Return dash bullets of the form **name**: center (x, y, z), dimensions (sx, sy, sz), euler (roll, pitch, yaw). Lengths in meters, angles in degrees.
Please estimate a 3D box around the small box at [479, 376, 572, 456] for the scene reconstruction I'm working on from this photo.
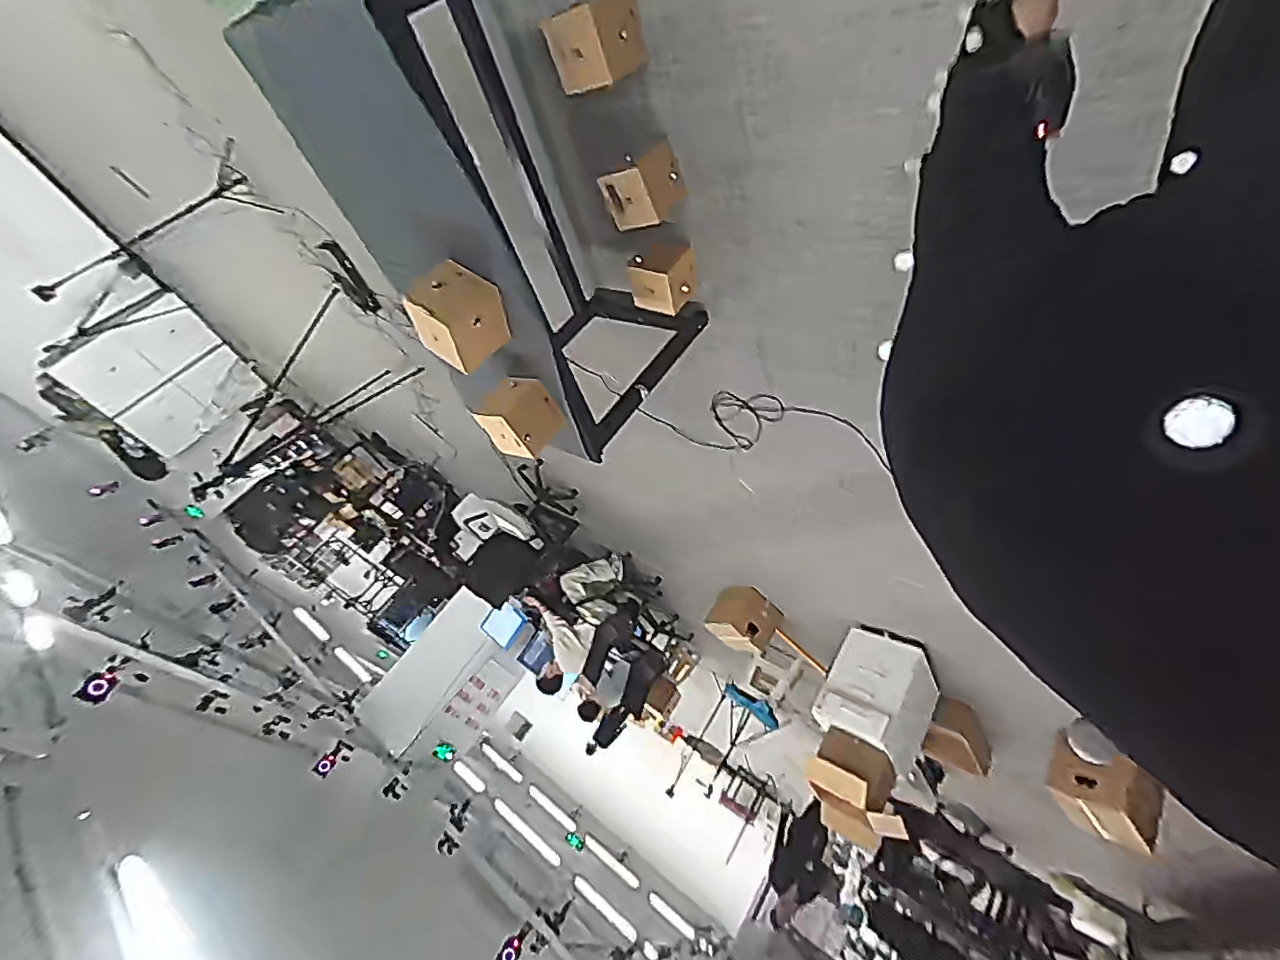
- **small box**: center (-0.337, -0.196, 1.617), dimensions (0.179, 0.176, 0.168), euler (12, 147, 43)

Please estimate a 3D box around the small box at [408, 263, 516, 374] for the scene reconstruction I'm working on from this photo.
- **small box**: center (-0.439, -0.410, 1.363), dimensions (0.168, 0.176, 0.179), euler (33, 158, 16)

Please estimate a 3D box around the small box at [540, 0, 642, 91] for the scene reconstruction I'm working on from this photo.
- **small box**: center (-0.115, -1.142, 1.387), dimensions (0.179, 0.176, 0.168), euler (18, 150, 37)

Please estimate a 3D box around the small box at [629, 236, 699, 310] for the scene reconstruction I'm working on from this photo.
- **small box**: center (0.092, -0.726, 1.883), dimensions (0.179, 0.176, 0.168), euler (23, 154, 29)
